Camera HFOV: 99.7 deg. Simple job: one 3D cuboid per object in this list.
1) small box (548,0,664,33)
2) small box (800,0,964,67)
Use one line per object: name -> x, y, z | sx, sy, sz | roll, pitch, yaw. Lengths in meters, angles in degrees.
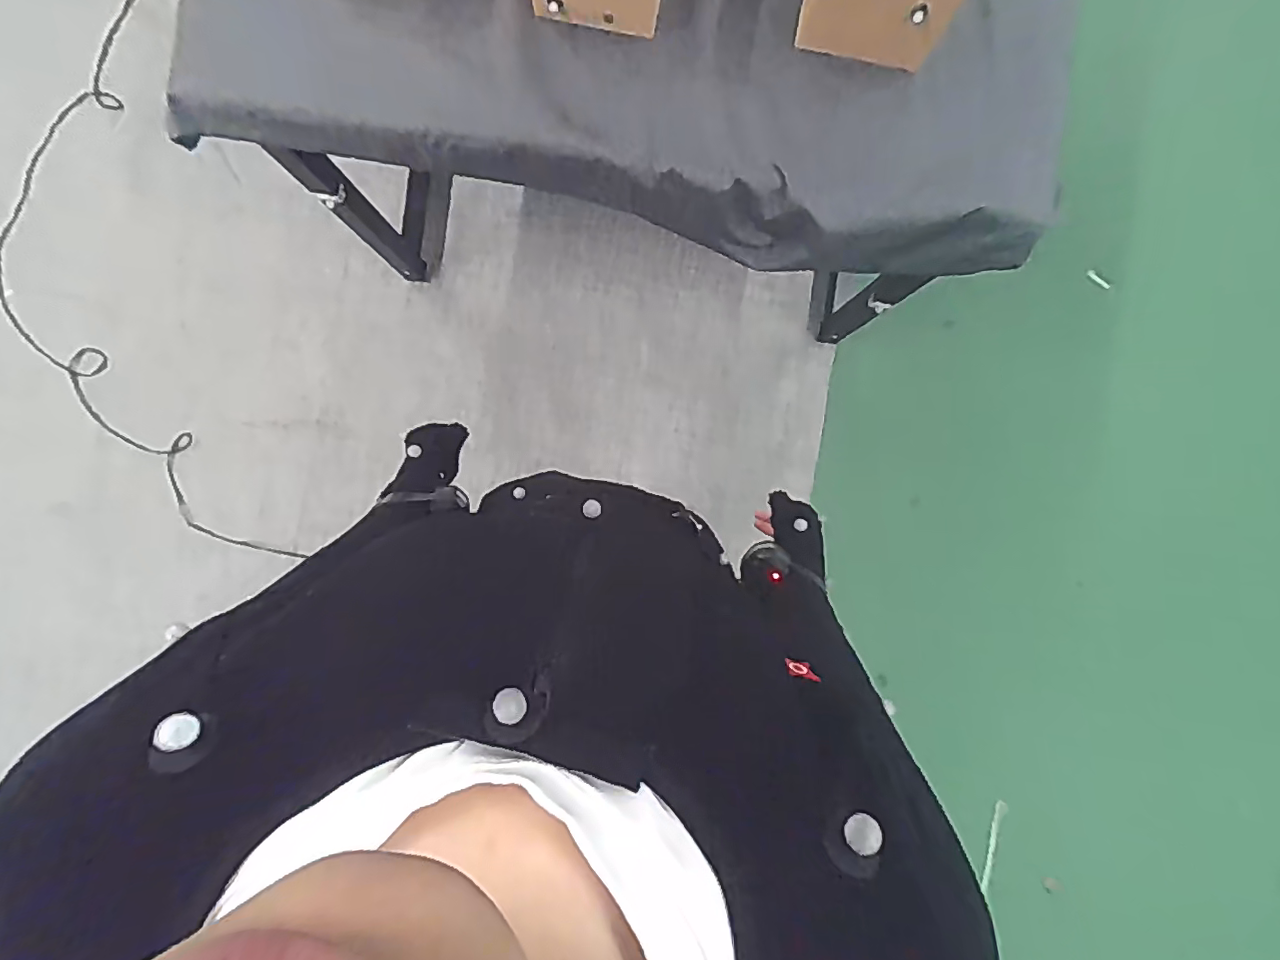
small box -> -0.040, -0.706, 0.662 | 0.168, 0.176, 0.179 | 10, 89, -1
small box -> 0.319, -0.661, 0.670 | 0.179, 0.176, 0.168 | 10, 88, 1
